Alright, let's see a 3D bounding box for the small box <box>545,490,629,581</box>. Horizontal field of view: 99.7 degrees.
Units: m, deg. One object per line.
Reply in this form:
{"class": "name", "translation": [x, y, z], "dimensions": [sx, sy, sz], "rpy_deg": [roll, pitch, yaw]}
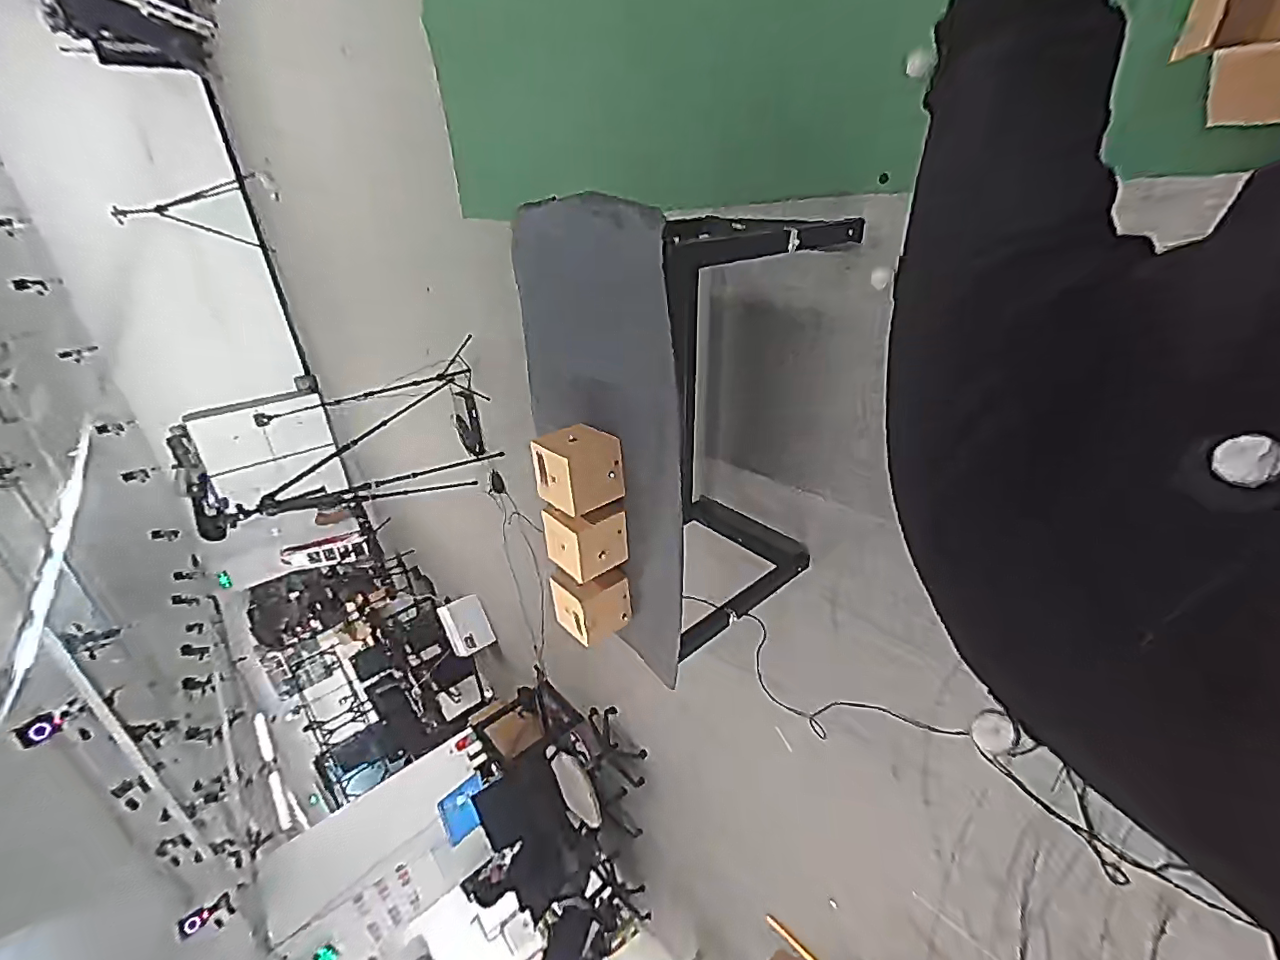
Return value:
{"class": "small box", "translation": [-0.140, 0.146, 1.517], "dimensions": [0.179, 0.176, 0.168], "rpy_deg": [28, 130, 44]}

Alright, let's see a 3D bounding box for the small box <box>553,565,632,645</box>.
{"class": "small box", "translation": [-0.135, 0.354, 1.630], "dimensions": [0.179, 0.176, 0.168], "rpy_deg": [24, 127, 46]}
